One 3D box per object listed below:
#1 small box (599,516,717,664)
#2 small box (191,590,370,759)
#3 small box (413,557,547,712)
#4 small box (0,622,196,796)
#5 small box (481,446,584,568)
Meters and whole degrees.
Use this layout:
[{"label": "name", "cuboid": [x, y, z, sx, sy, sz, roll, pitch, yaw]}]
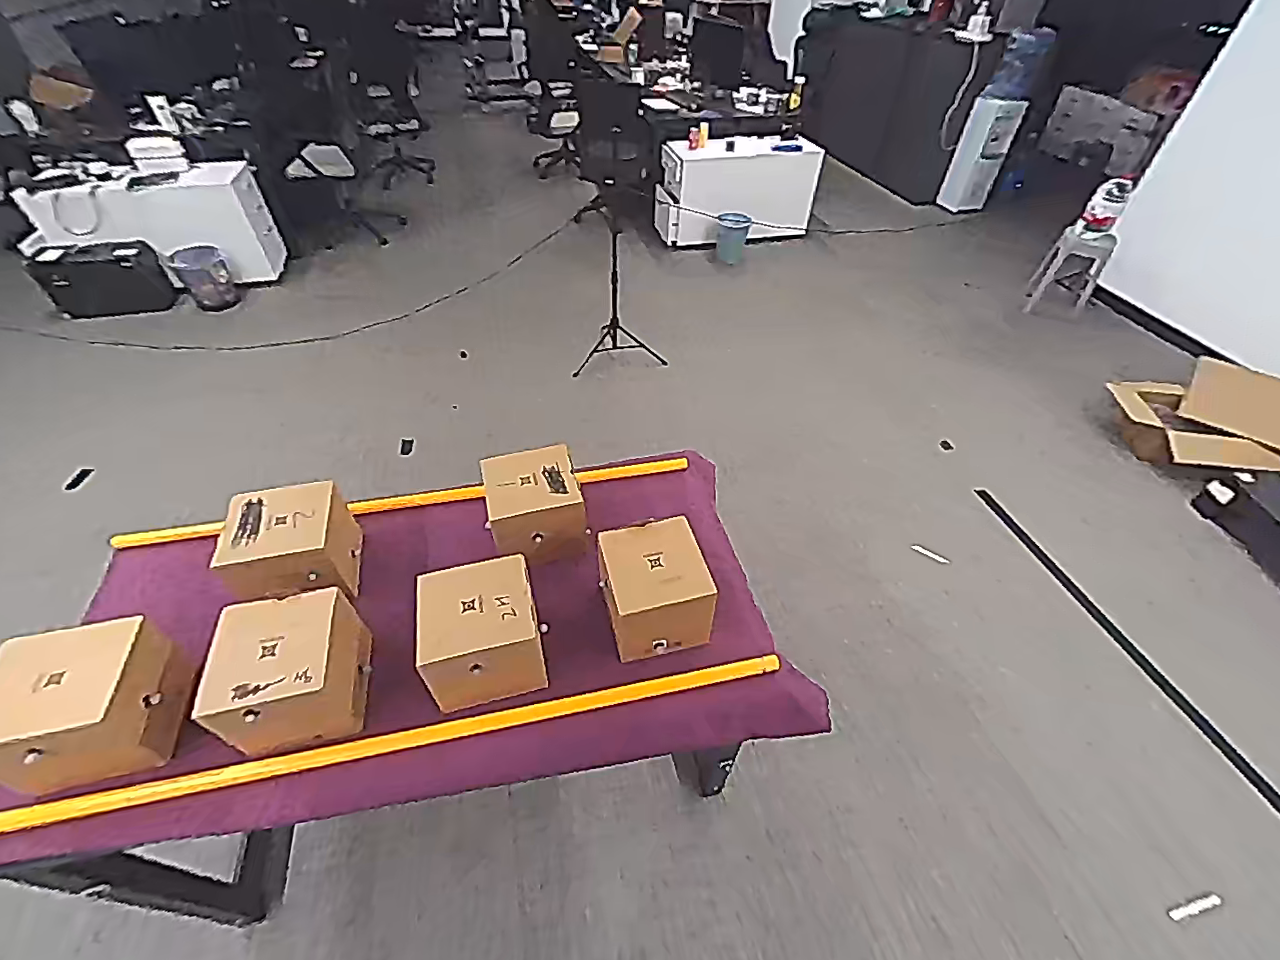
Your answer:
[{"label": "small box", "cuboid": [0.025, 0.195, 0.960, 0.168, 0.176, 0.179, -11, 45, -10]}, {"label": "small box", "cuboid": [-0.539, 0.303, 0.844, 0.168, 0.176, 0.179, -10, 46, -10]}, {"label": "small box", "cuboid": [-0.260, 0.257, 0.894, 0.179, 0.176, 0.168, -10, 45, -12]}, {"label": "small box", "cuboid": [-0.813, 0.338, 0.800, 0.179, 0.176, 0.168, -10, 46, -11]}, {"label": "small box", "cuboid": [-0.212, 0.059, 1.090, 0.179, 0.176, 0.168, -12, 48, -12]}]
